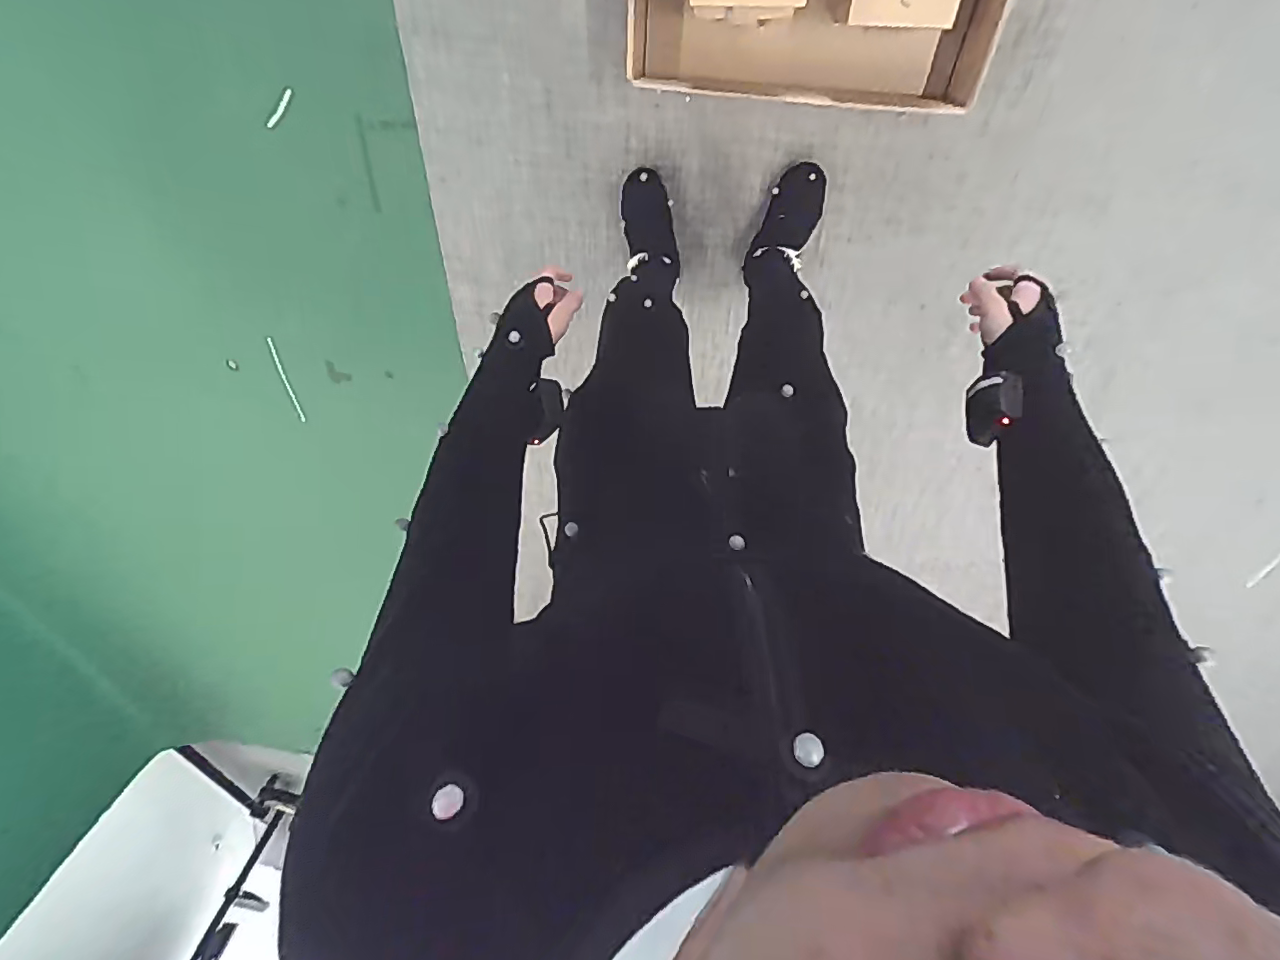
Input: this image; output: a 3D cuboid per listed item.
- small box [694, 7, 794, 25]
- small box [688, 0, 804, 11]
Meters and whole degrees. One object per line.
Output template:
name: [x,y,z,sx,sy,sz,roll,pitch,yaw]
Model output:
small box: [0.184,-0.873,0.898,0.168,0.176,0.179,6,129,4]
small box: [0.160,-0.783,0.765,0.168,0.176,0.179,5,129,5]
